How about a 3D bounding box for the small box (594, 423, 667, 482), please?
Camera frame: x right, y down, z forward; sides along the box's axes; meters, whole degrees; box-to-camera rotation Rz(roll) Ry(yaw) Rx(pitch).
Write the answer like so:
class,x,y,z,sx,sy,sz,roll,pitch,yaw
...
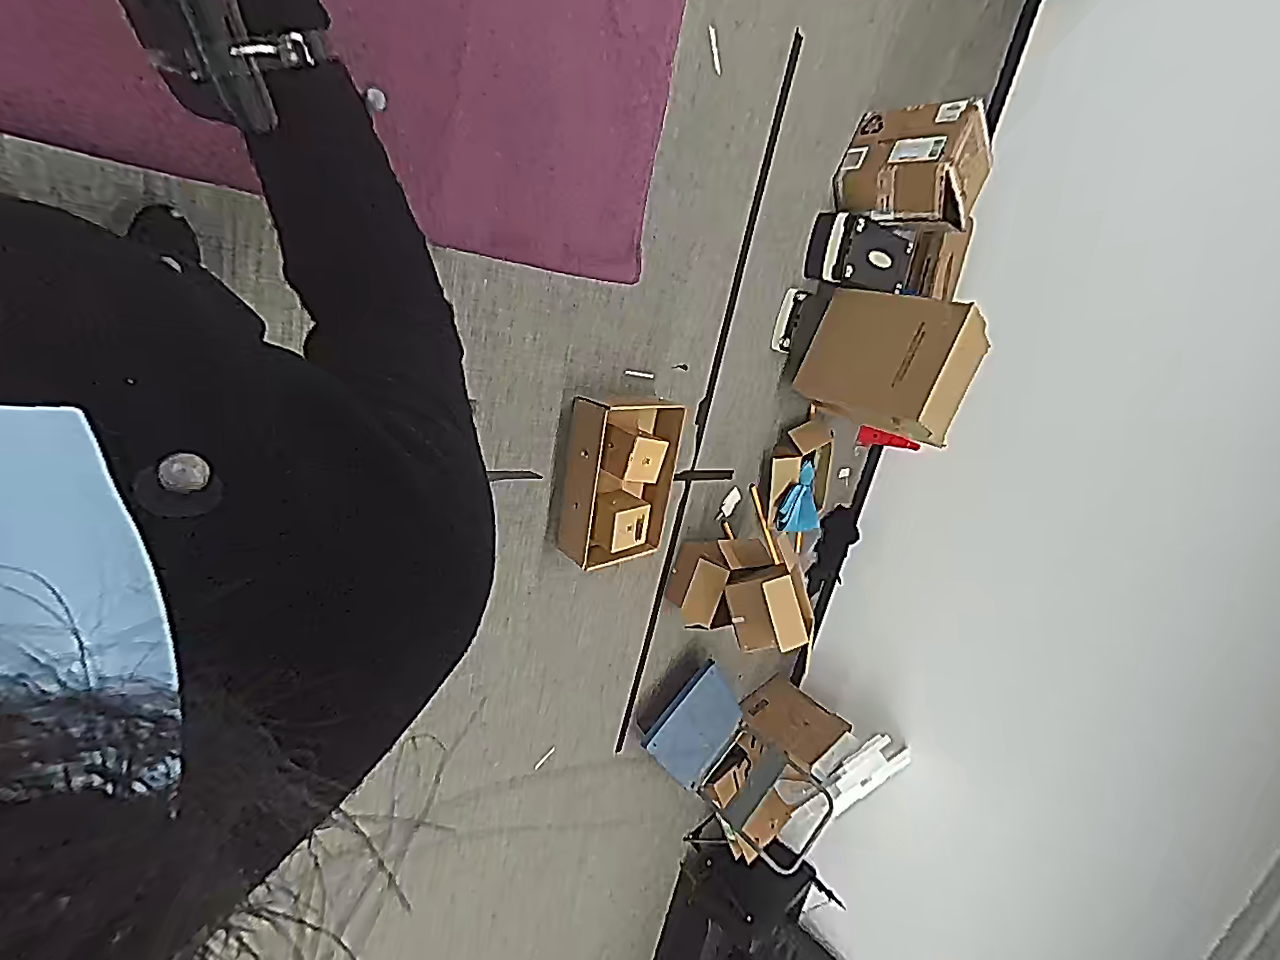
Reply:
class,x,y,z,sx,sy,sz,roll,pitch,yaw
small box,-0.038,-0.102,1.991,0.179,0.176,0.168,5,108,-47
